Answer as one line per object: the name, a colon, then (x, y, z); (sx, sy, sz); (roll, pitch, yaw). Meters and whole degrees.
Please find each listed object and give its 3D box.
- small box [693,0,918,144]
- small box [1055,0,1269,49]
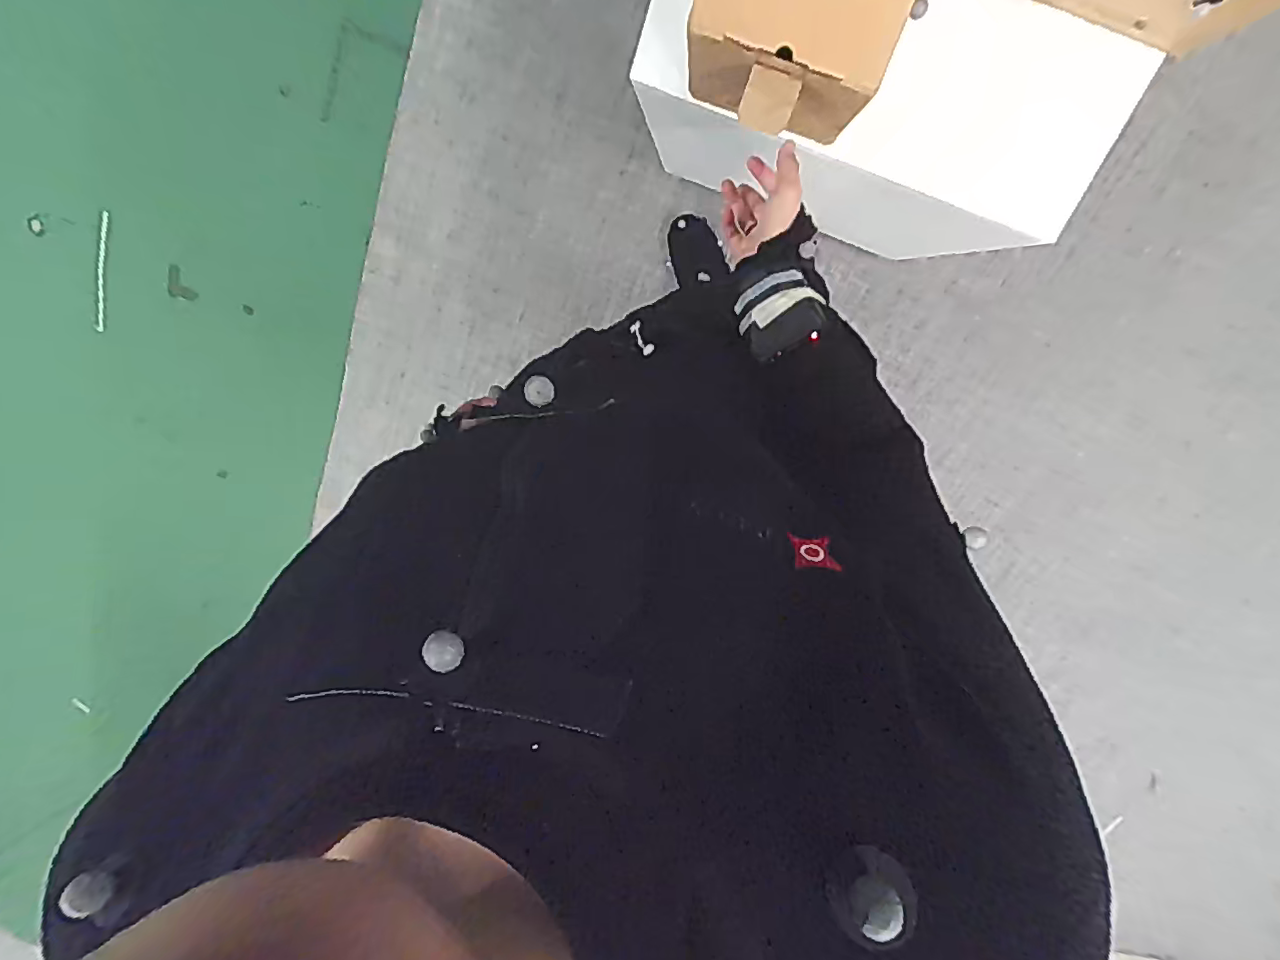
small box: (0.149, -0.438, 0.484); (0.168, 0.176, 0.179); (18, 111, -1)
small box: (0.468, -0.491, 0.427); (0.168, 0.176, 0.179); (20, 111, -2)
